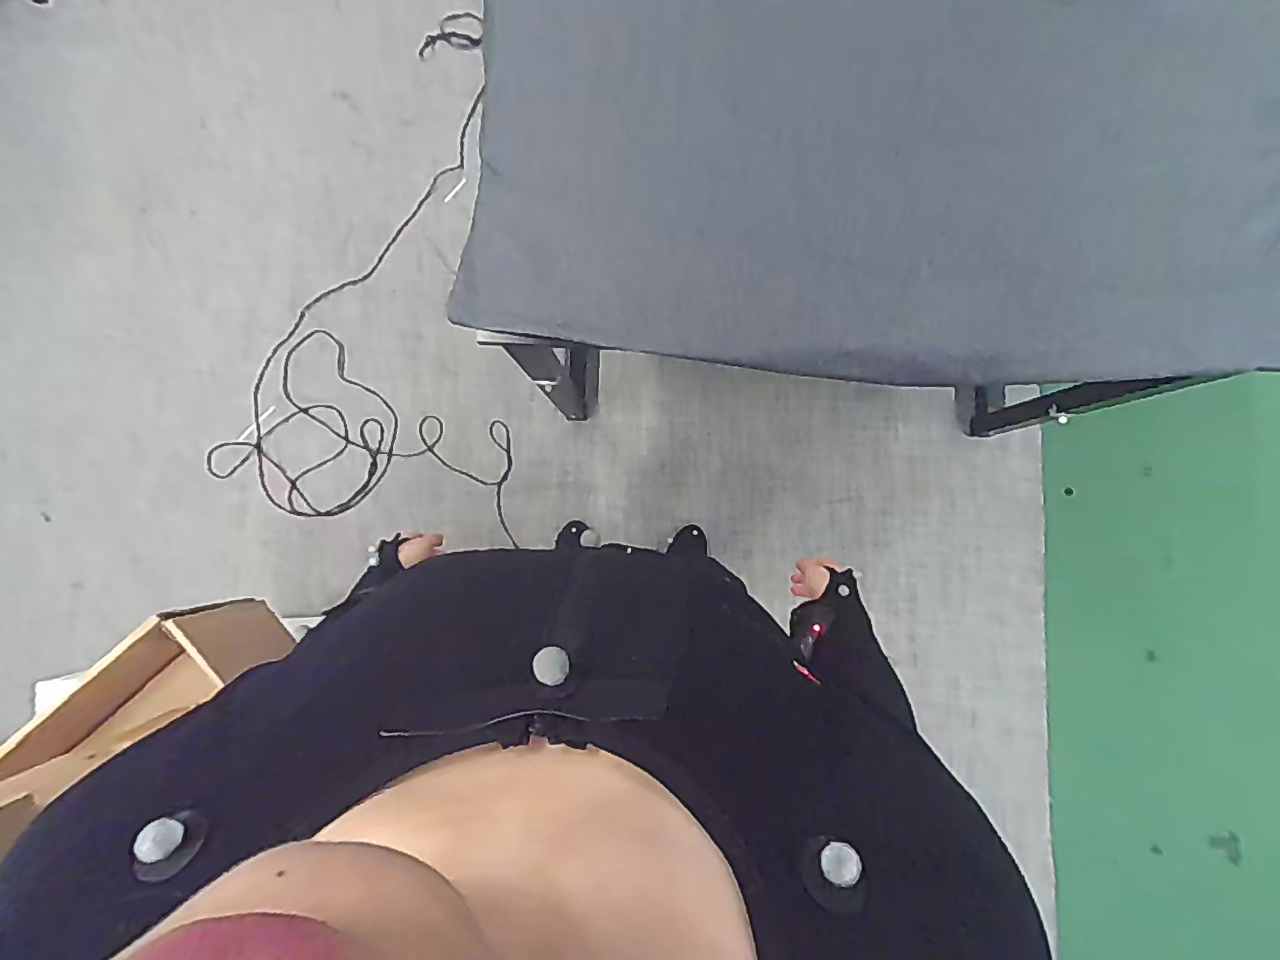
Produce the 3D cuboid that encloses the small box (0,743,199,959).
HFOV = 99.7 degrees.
[{"bbox_3d":[-0.649,0.418,0.609,0.168,0.176,0.179,-8,90,2],"label":"small box"}]
